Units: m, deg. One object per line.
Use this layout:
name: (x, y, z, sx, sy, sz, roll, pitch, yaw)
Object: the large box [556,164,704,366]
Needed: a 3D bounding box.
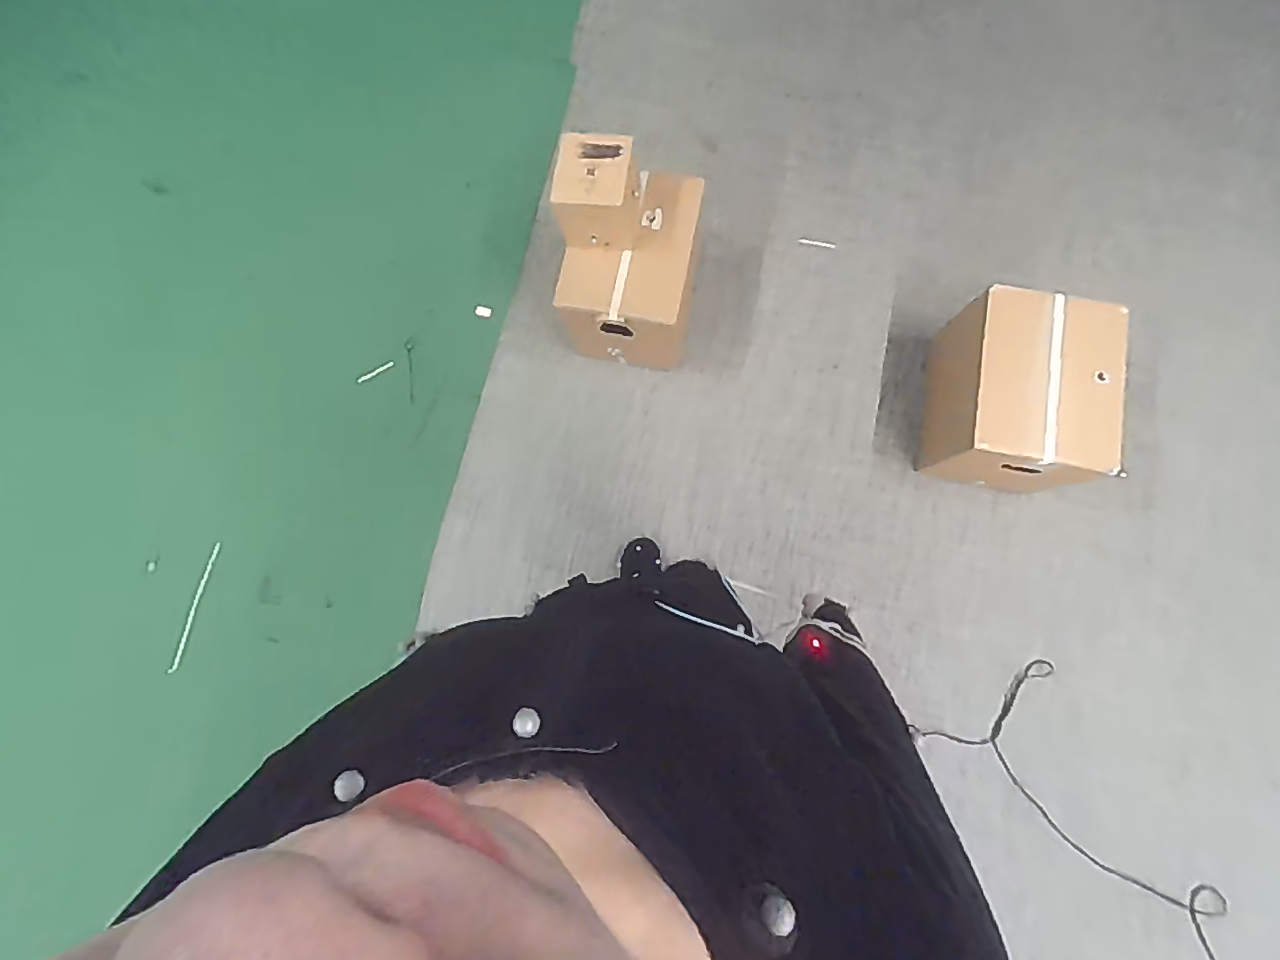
large box: (-0.012, -0.572, 1.493, 0.320, 0.320, 0.408, 11, 81, 6)
